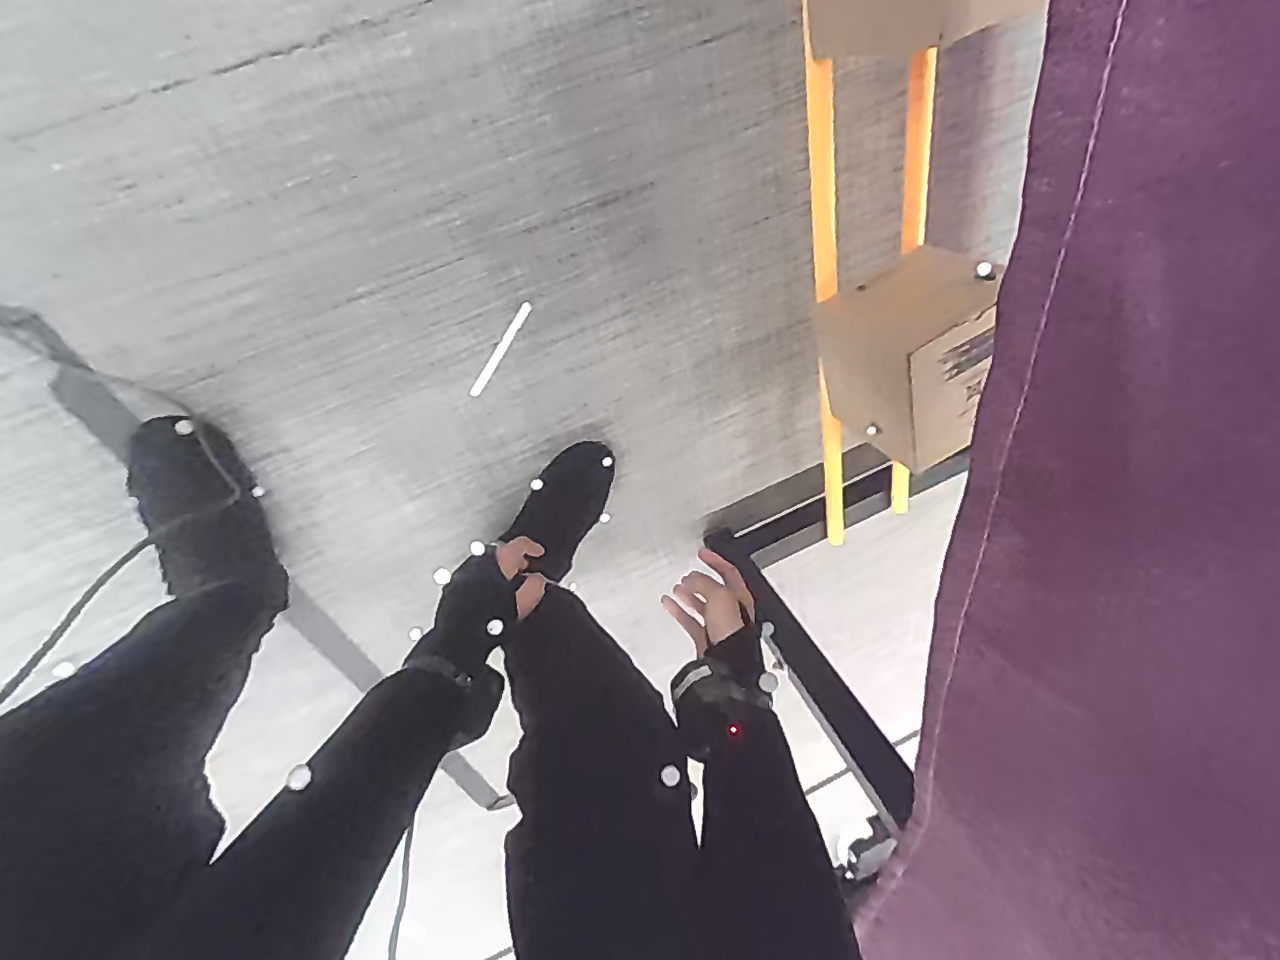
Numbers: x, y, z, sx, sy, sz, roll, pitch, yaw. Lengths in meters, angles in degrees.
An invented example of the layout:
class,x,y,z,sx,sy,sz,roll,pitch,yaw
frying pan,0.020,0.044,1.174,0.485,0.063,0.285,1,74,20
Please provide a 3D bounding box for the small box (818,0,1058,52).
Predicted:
class,x,y,z,sx,sy,sz,roll,pitch,yaw
small box,0.244,-0.449,0.397,0.168,0.176,0.179,-25,130,-4
